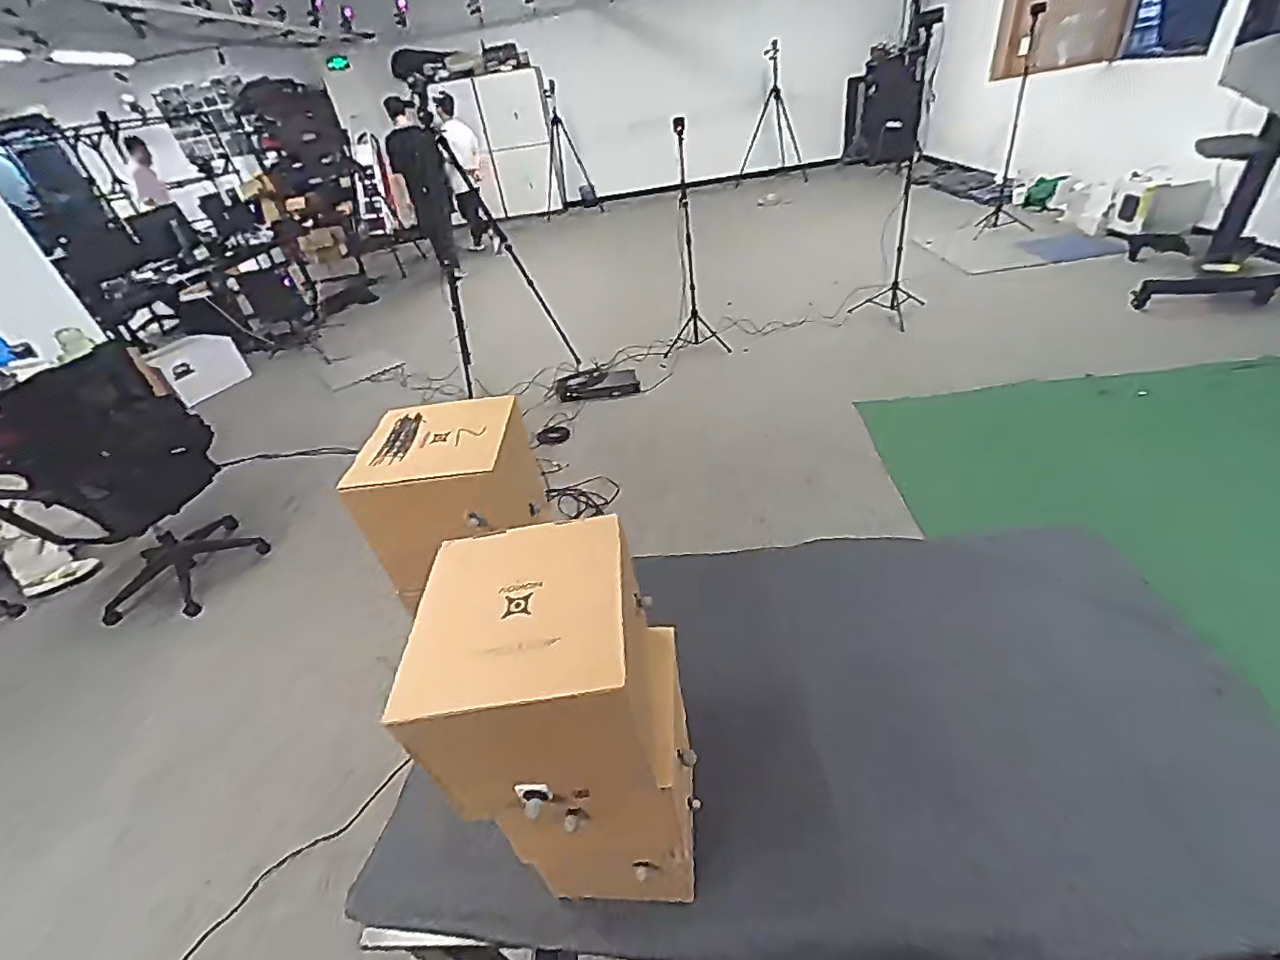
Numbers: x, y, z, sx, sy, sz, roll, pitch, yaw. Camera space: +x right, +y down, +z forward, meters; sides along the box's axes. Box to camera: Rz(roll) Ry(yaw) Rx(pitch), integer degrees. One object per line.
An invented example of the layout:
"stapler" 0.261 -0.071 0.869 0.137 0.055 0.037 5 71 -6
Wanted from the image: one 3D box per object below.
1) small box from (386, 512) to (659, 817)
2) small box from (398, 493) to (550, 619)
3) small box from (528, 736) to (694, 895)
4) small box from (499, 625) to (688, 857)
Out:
"small box" -0.081 0.155 0.467 0.168 0.176 0.179 -10 38 3
"small box" -0.211 0.143 0.786 0.179 0.176 0.168 -8 38 4
"small box" -0.024 0.395 0.679 0.179 0.176 0.168 -5 37 9
"small box" -0.041 0.274 0.571 0.179 0.176 0.168 -5 37 7
